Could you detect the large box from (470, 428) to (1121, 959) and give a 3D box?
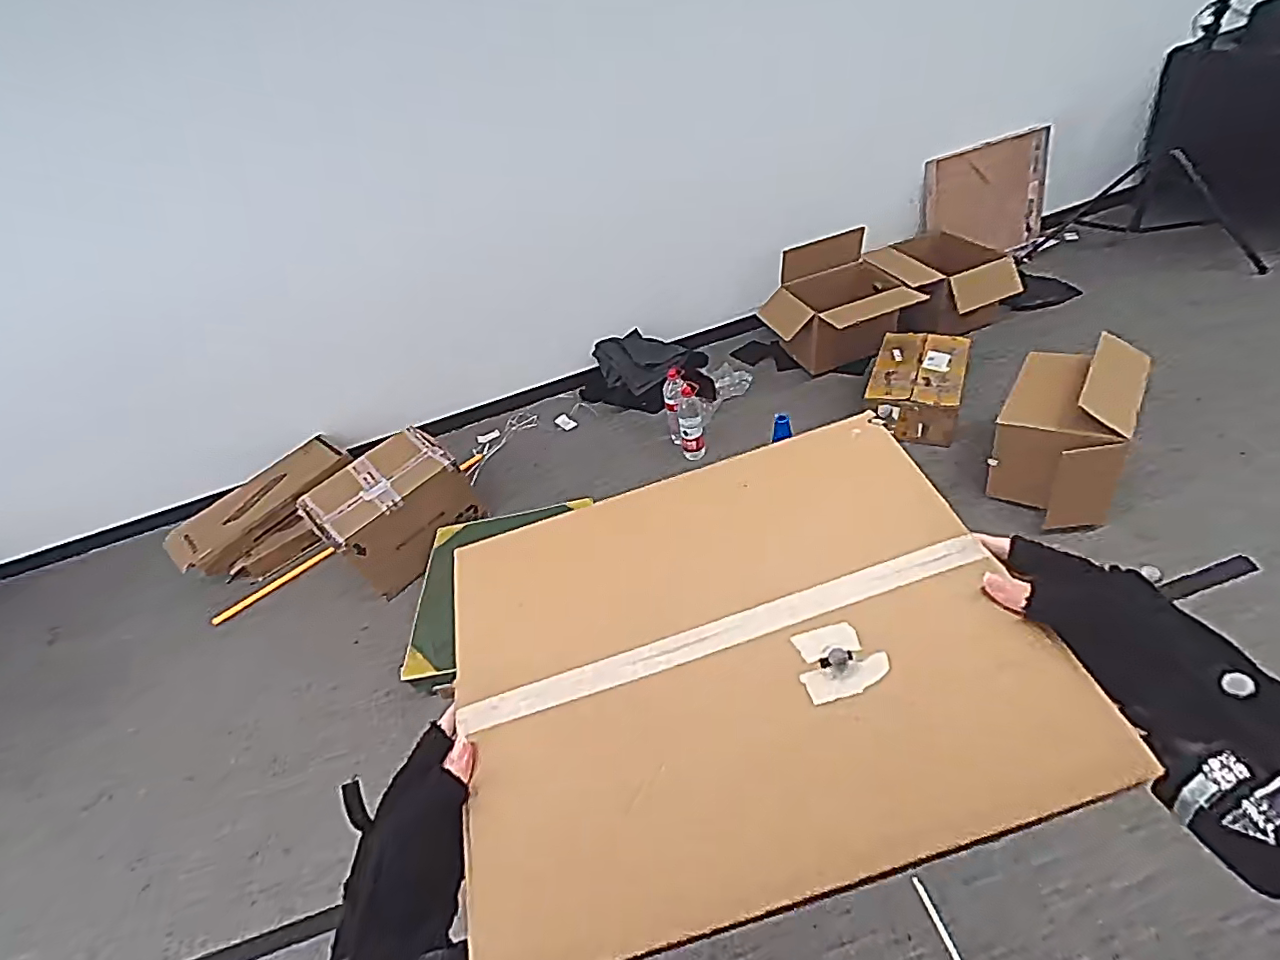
[{"bbox_3d":[0.092,0.214,0.526,0.408,0.320,0.320,-18,51,-1],"label":"large box"}]
